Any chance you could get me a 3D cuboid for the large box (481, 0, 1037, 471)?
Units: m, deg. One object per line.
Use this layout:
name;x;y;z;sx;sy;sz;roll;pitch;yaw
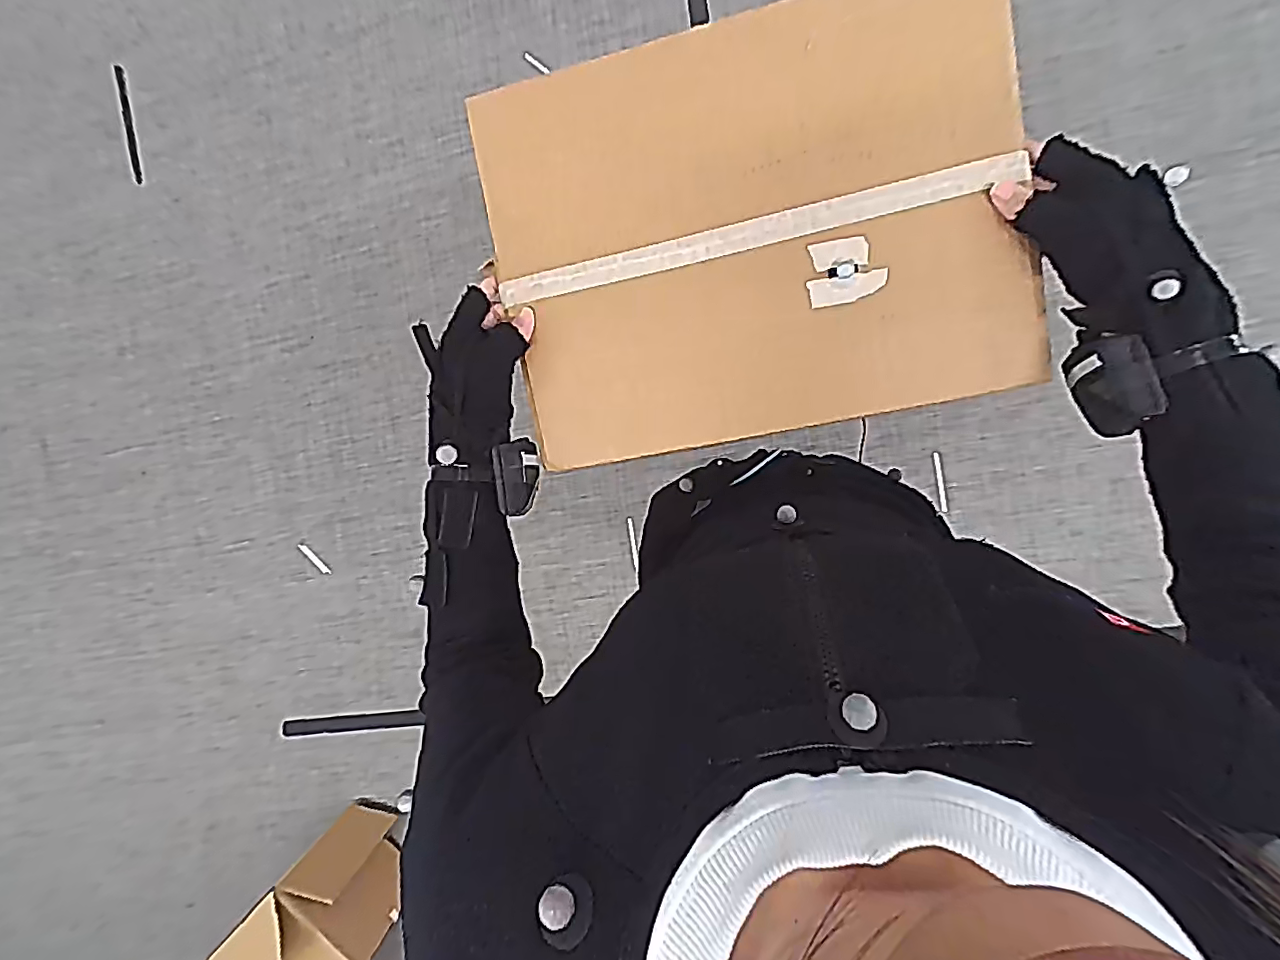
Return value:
large box;0.106;-0.211;0.583;0.408;0.320;0.320;-11;97;9
